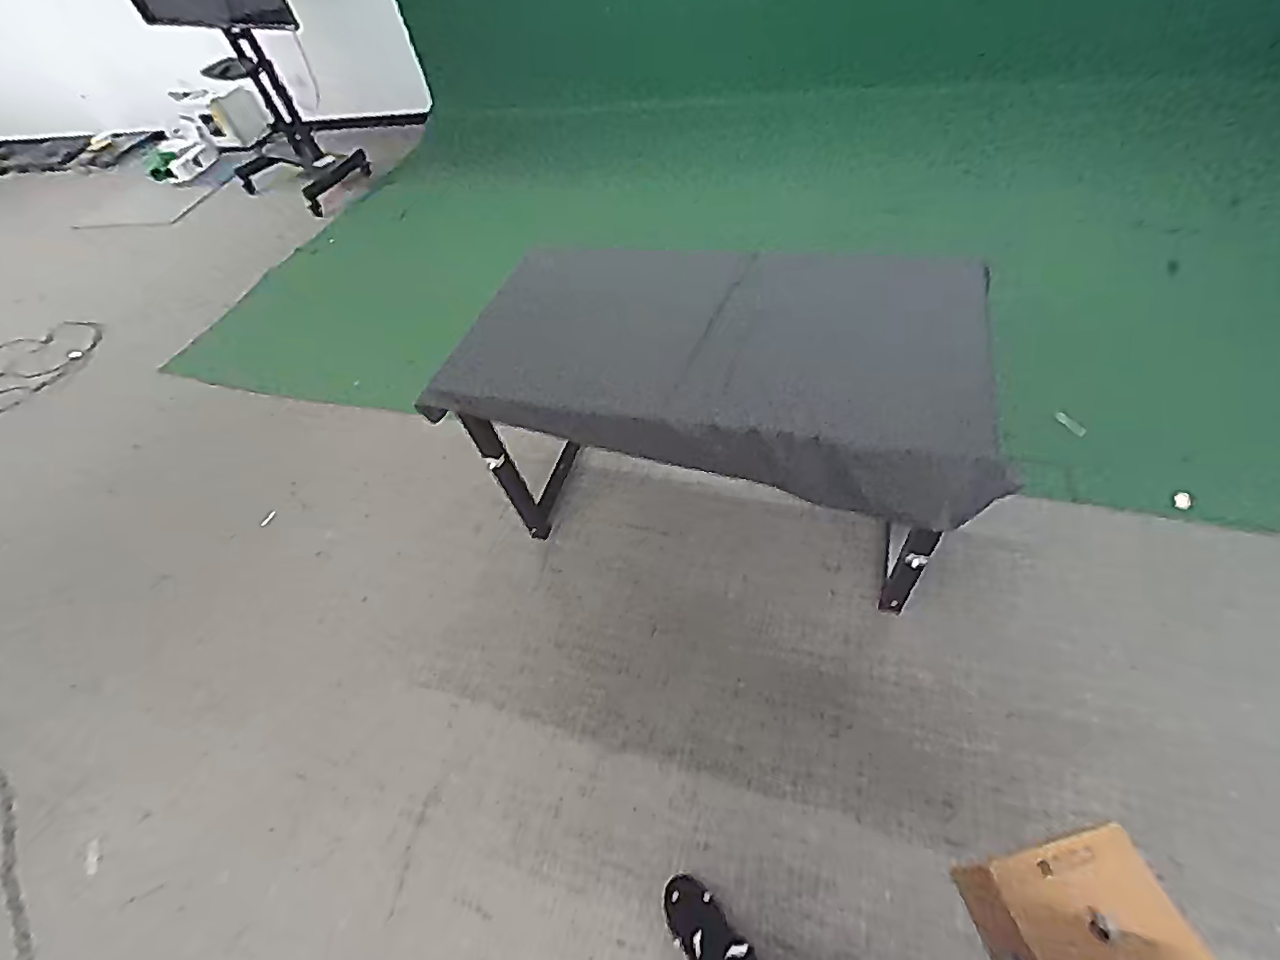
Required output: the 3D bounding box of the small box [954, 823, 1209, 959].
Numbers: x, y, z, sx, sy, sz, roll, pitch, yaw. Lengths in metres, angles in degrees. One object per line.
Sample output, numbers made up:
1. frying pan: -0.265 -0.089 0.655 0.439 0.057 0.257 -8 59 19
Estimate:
1. small box: 0.515 0.536 0.651 0.168 0.179 0.176 -20 50 1
